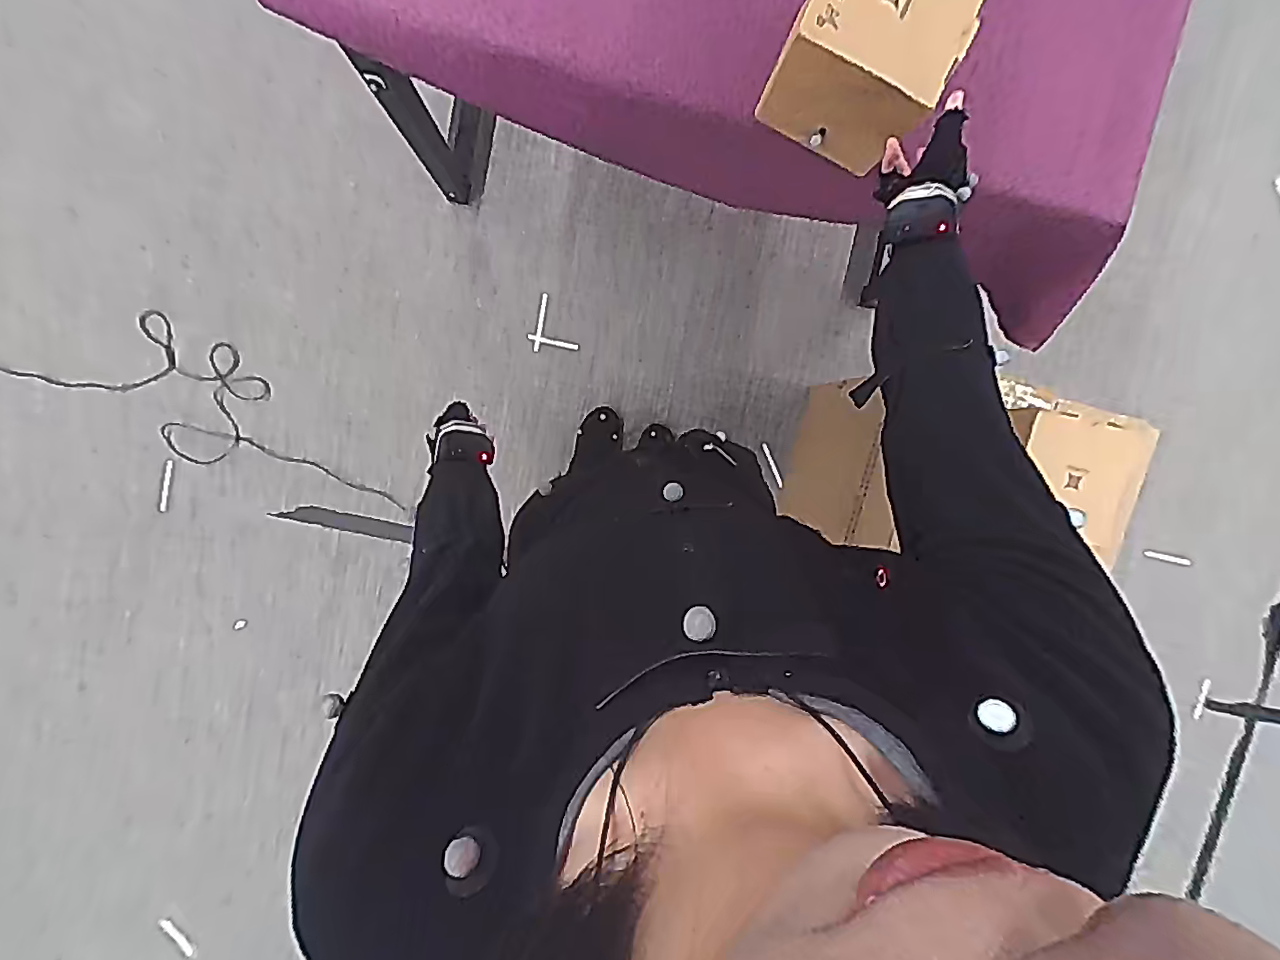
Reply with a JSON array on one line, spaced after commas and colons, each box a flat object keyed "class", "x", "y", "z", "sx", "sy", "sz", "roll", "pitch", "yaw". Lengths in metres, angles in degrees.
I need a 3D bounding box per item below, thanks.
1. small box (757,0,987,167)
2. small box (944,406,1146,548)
[{"class": "small box", "x": 0.273, "y": -0.523, "z": 0.663, "sx": 0.179, "sy": 0.176, "sz": 0.168, "roll": 24, "pitch": 93, "yaw": -7}, {"class": "small box", "x": 0.612, "y": -0.011, "z": 0.842, "sx": 0.168, "sy": 0.176, "sz": 0.179, "roll": 13, "pitch": 96, "yaw": -3}]
